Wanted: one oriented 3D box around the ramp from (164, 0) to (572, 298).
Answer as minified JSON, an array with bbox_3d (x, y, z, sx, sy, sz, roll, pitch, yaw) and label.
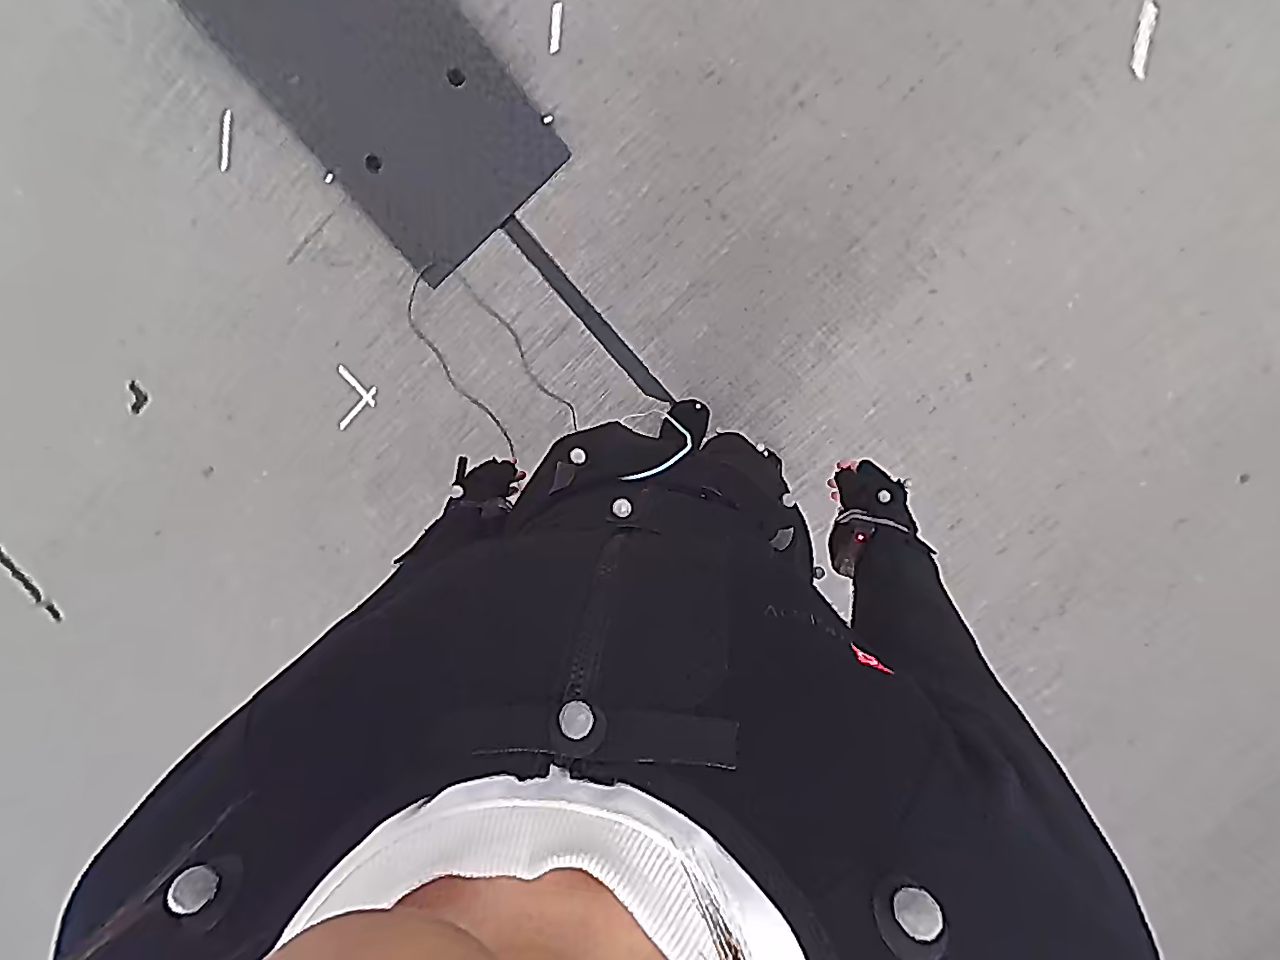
[{"bbox_3d":[-0.666,-0.991,1.294,0.509,0.206,0.991,-42,93,9],"label":"ramp"}]
